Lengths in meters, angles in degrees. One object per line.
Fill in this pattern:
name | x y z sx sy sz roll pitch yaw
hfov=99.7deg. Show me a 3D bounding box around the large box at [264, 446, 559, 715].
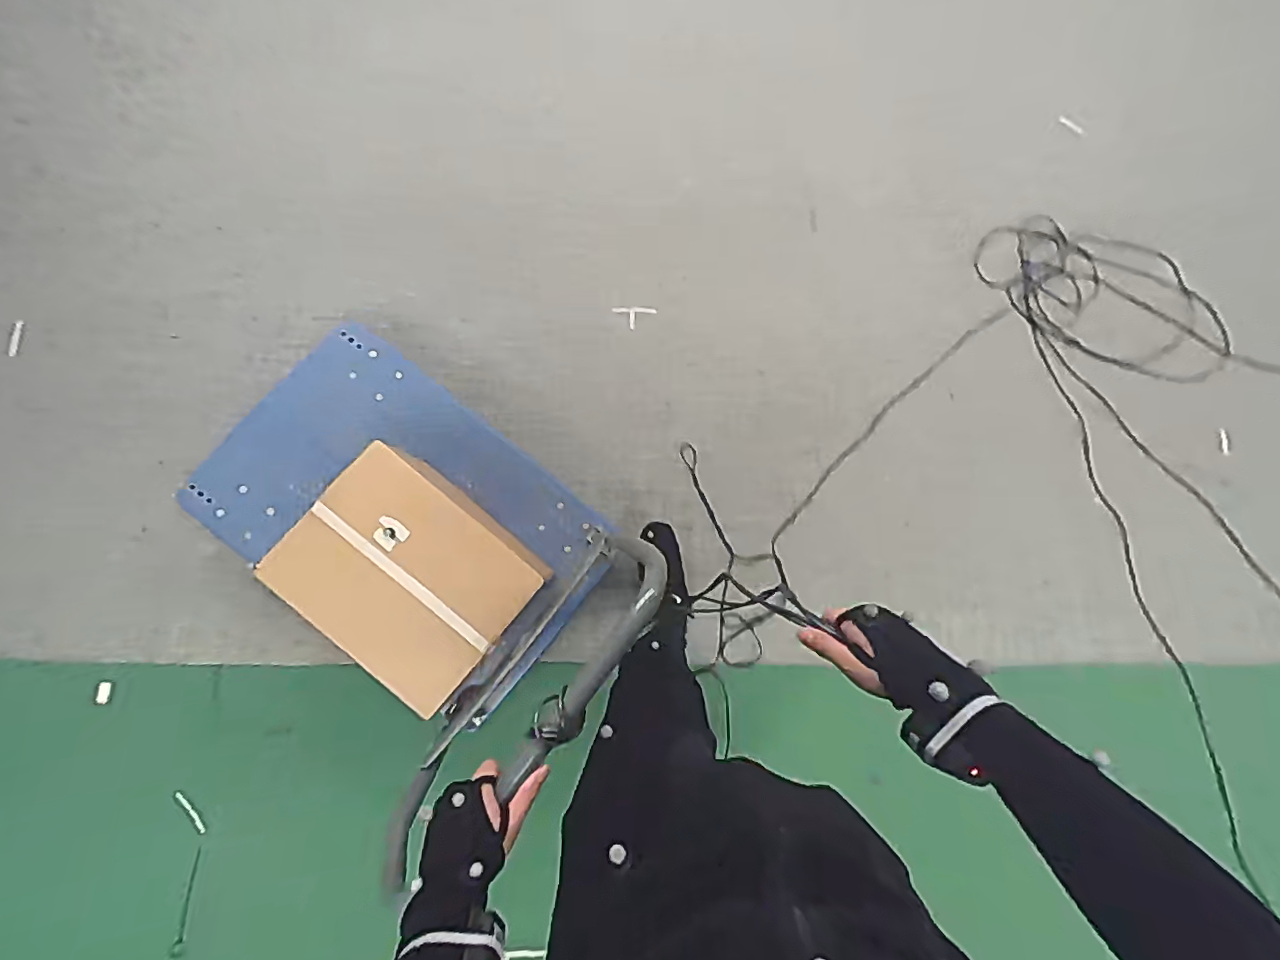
large box | -0.423 0.193 1.111 0.408 0.320 0.320 40 80 1
